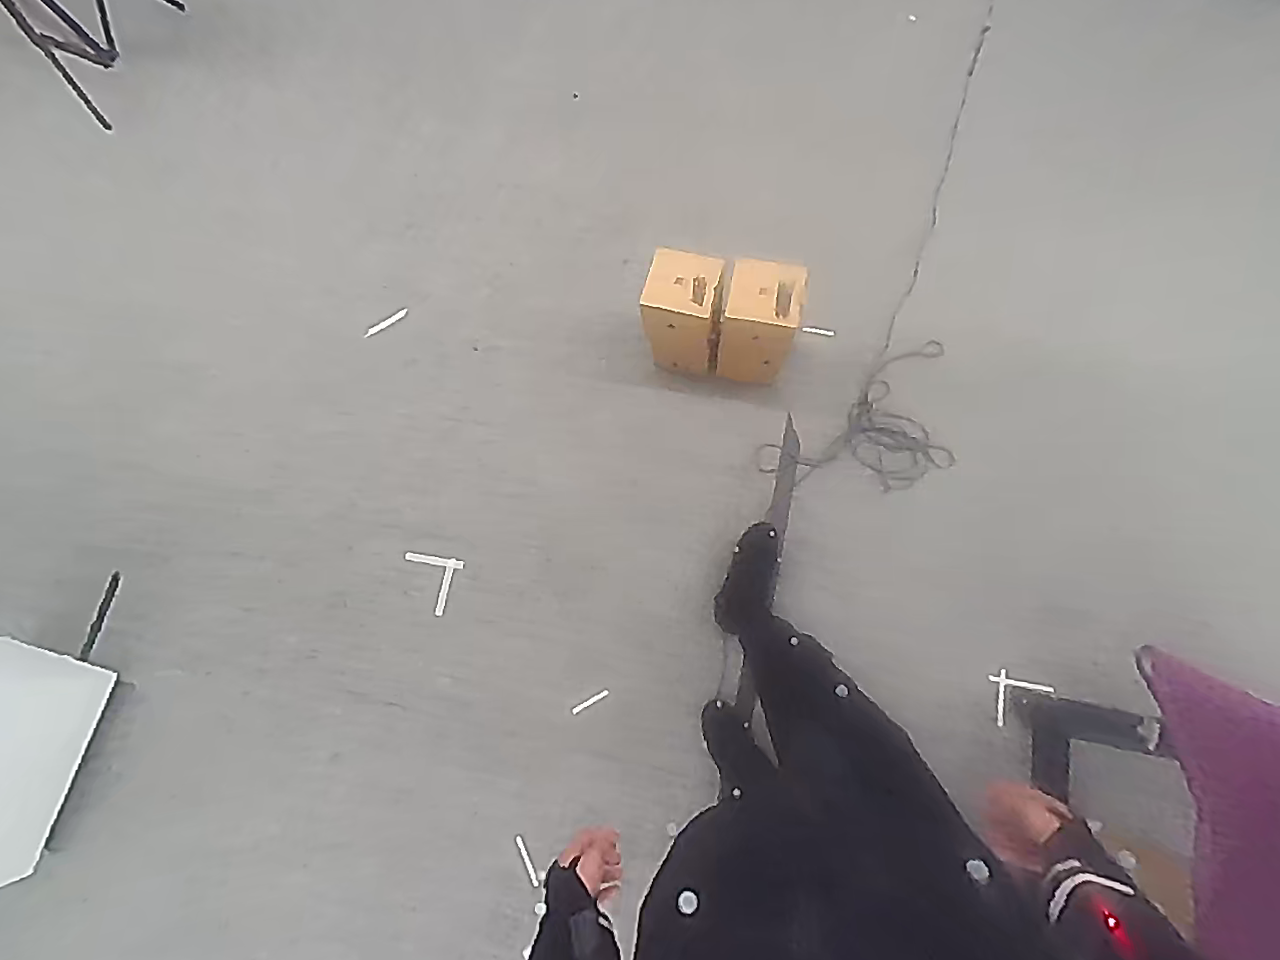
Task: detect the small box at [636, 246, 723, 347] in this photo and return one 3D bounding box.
[{"bbox_3d":[0.104,-0.456,1.368,0.179,0.176,0.168,14,78,11],"label":"small box"}]
